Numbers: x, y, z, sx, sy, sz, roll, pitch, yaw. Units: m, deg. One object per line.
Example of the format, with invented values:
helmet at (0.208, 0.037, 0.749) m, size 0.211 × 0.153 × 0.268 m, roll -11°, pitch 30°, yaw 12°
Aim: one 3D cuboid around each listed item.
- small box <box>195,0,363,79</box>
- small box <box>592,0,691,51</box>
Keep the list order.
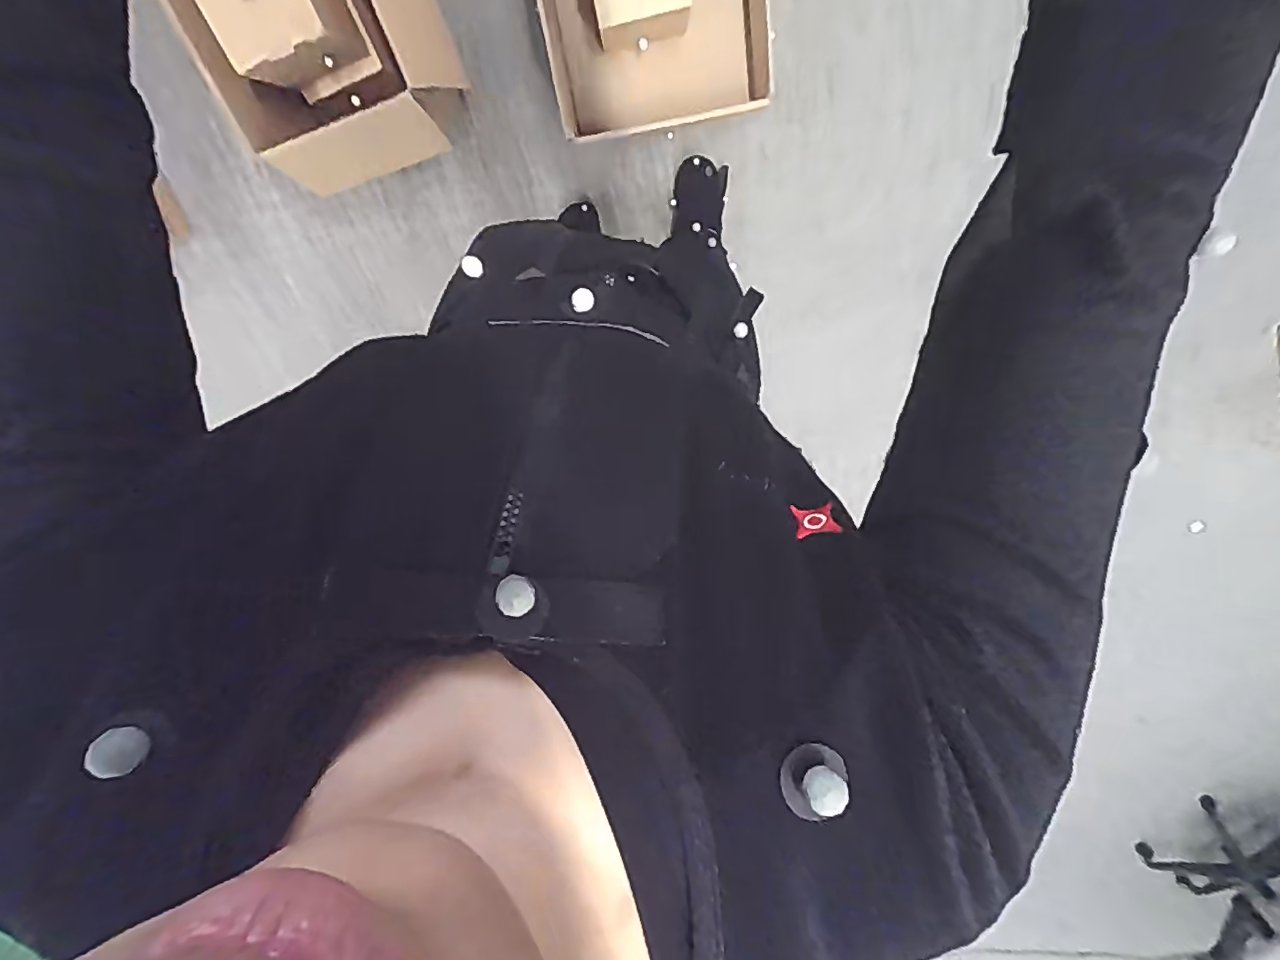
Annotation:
small box at (-0.587, -0.776, 0.869) m, size 0.168 × 0.176 × 0.179 m, roll -17°, pitch 118°, yaw 8°
small box at (-0.009, -0.899, 0.951) m, size 0.168 × 0.176 × 0.179 m, roll -10°, pitch 117°, yaw 5°
